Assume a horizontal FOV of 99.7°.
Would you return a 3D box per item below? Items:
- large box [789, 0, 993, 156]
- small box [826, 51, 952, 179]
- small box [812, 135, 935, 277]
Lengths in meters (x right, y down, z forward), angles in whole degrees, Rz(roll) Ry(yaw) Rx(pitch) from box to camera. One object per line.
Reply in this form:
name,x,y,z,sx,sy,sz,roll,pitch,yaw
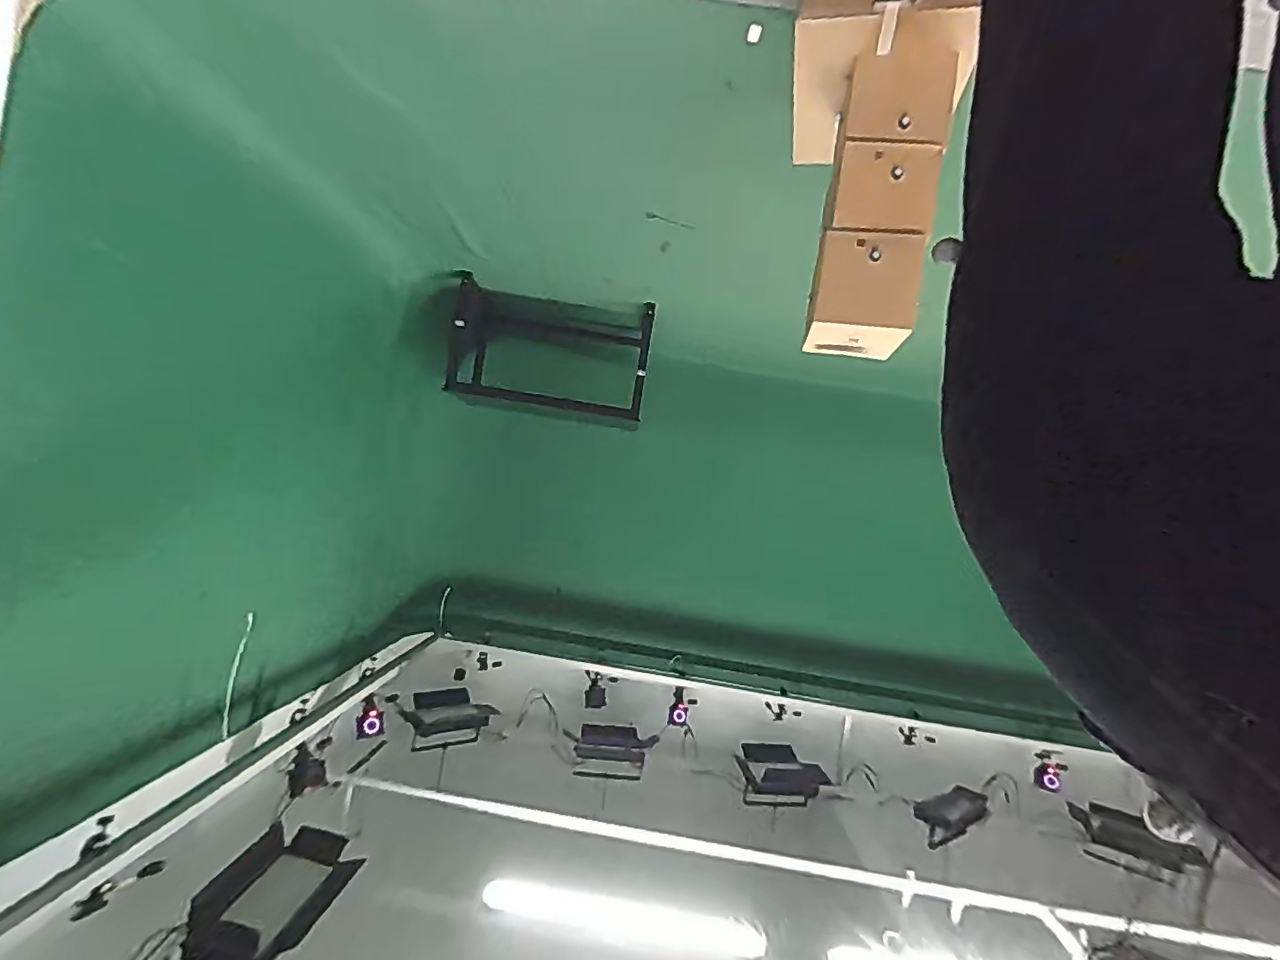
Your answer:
large box,0.472,-0.909,1.053,0.320,0.320,0.408,9,-179,16
small box,0.460,-0.663,1.016,0.179,0.176,0.168,8,178,10
small box,0.430,-0.504,1.010,0.168,0.176,0.179,8,178,9
